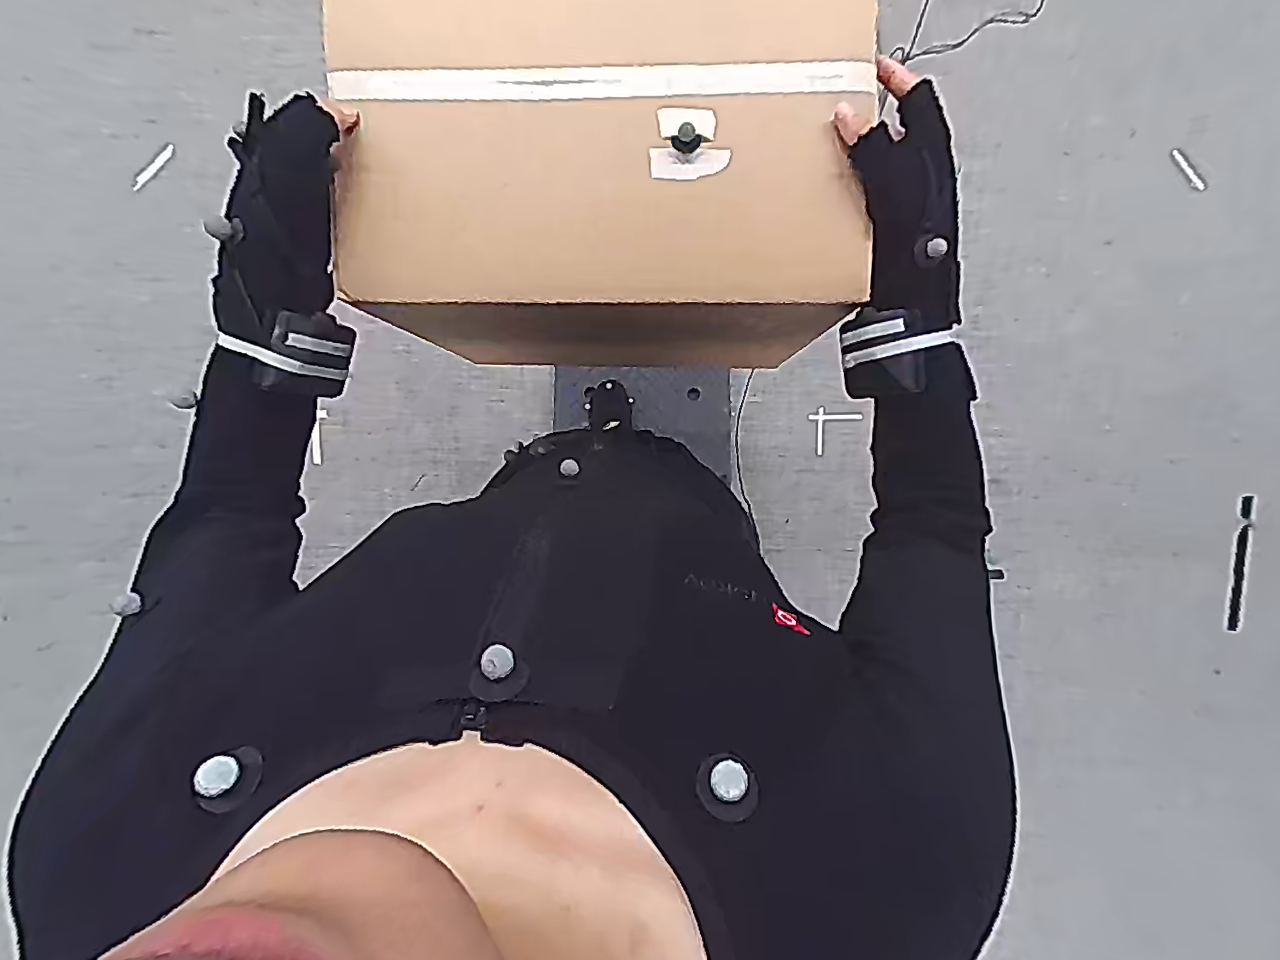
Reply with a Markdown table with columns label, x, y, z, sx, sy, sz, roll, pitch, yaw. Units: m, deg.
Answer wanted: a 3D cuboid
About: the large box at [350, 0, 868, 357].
| label | x | y | z | sx | sy | sz | roll | pitch | yaw |
| --- | --- | --- | --- | --- | --- | --- | --- | --- | --- |
| large box | -0.024 | -0.312 | 0.563 | 0.408 | 0.320 | 0.320 | 0 | 94 | 2 |
